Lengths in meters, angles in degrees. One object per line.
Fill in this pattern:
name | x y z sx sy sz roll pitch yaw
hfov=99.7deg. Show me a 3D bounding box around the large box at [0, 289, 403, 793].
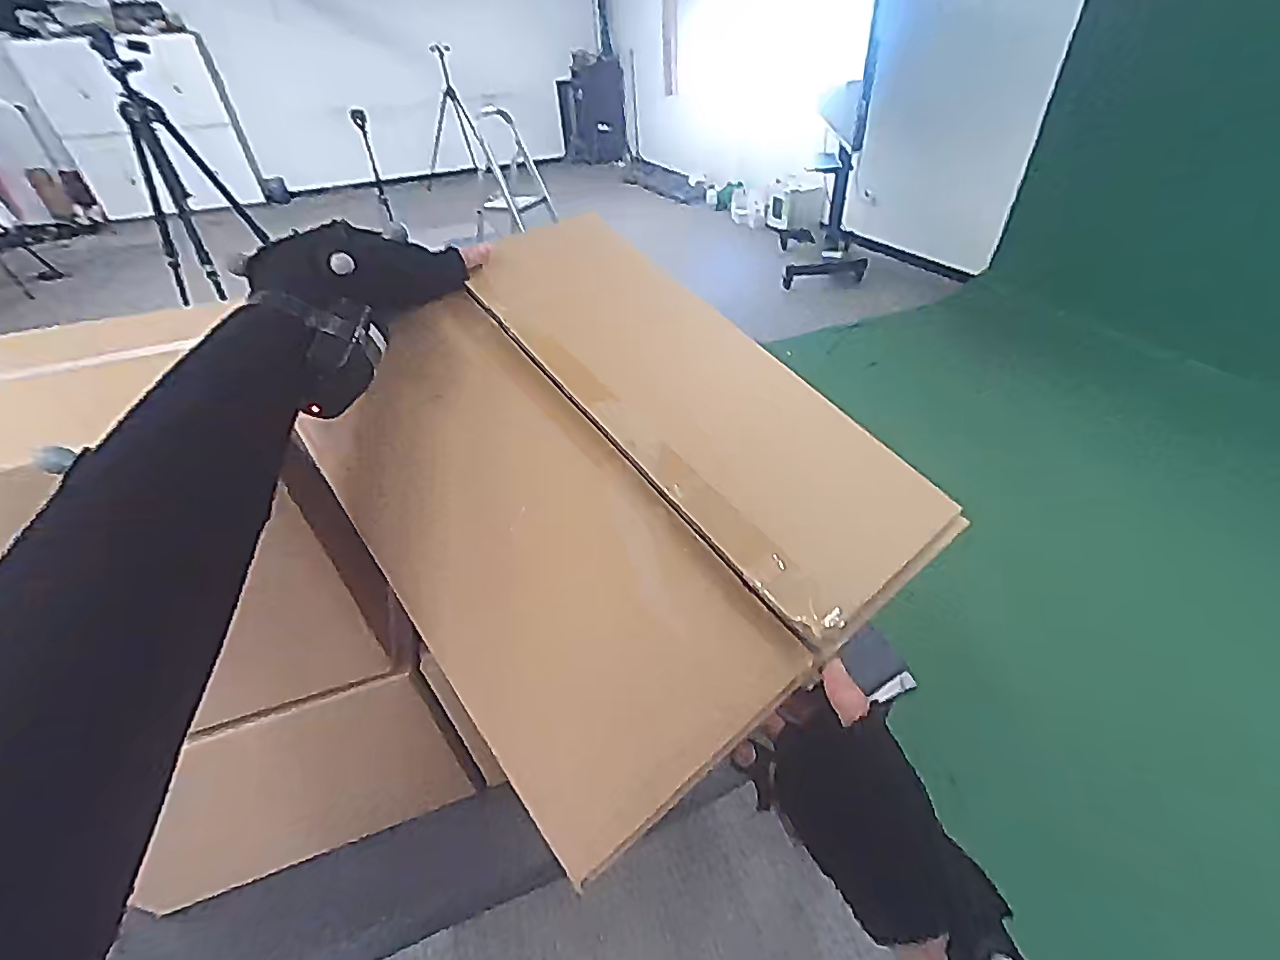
large box | -0.498 0.042 0.545 0.408 0.320 0.320 -16 39 -12
